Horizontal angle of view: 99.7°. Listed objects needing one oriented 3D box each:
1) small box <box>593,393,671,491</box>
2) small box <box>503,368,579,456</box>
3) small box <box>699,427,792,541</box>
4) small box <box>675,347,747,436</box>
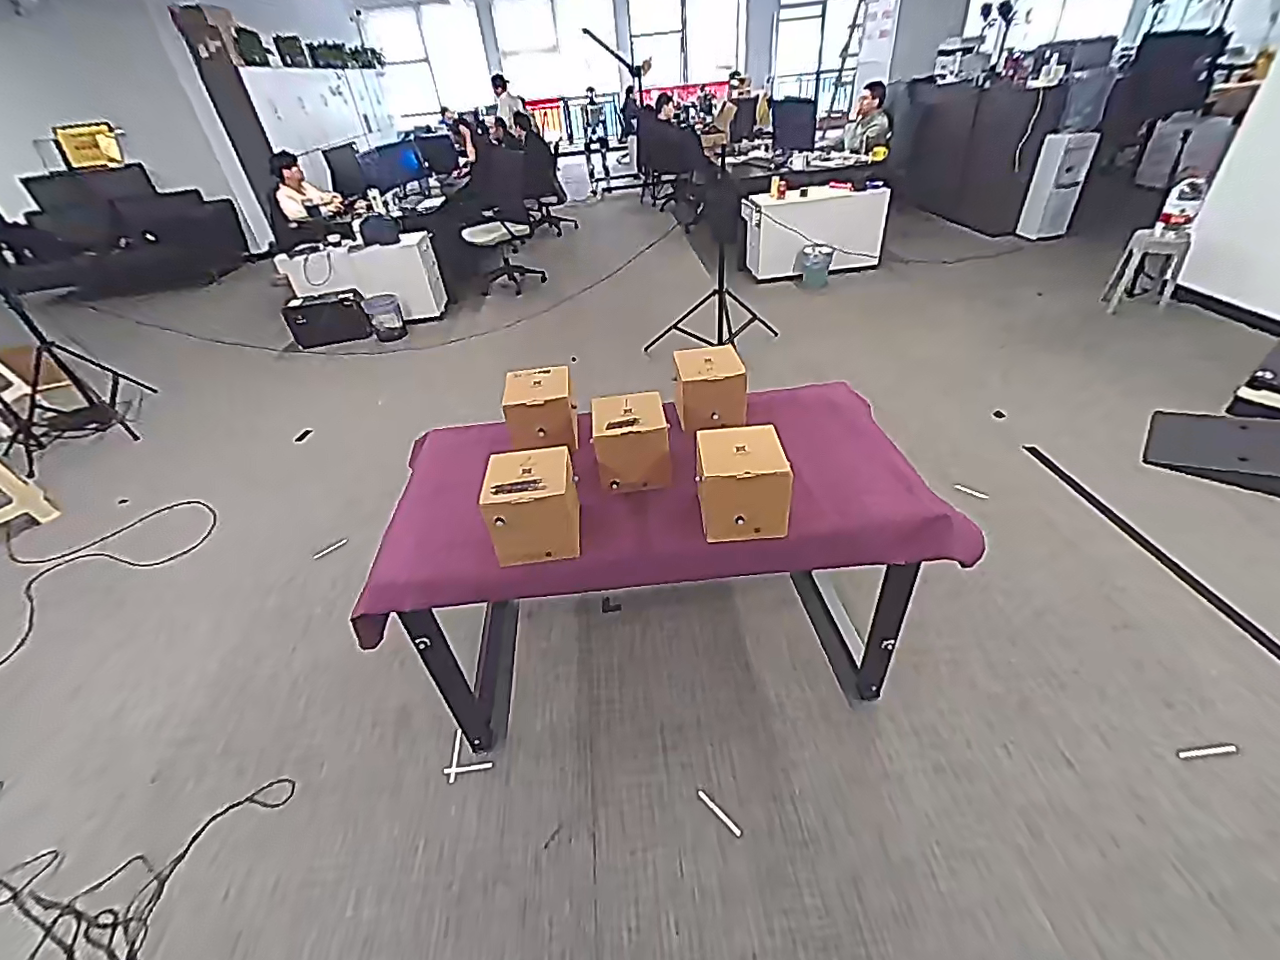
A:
[{"bbox_3d":[-0.019,-0.086,1.292,0.168,0.176,0.179,-7,37,-1],"label":"small box"},{"bbox_3d":[-0.256,-0.176,1.439,0.168,0.176,0.179,-7,40,-2],"label":"small box"},{"bbox_3d":[0.212,0.008,1.135,0.168,0.176,0.179,-4,36,3],"label":"small box"},{"bbox_3d":[0.187,-0.240,1.460,0.168,0.176,0.179,-8,38,-1],"label":"small box"}]
